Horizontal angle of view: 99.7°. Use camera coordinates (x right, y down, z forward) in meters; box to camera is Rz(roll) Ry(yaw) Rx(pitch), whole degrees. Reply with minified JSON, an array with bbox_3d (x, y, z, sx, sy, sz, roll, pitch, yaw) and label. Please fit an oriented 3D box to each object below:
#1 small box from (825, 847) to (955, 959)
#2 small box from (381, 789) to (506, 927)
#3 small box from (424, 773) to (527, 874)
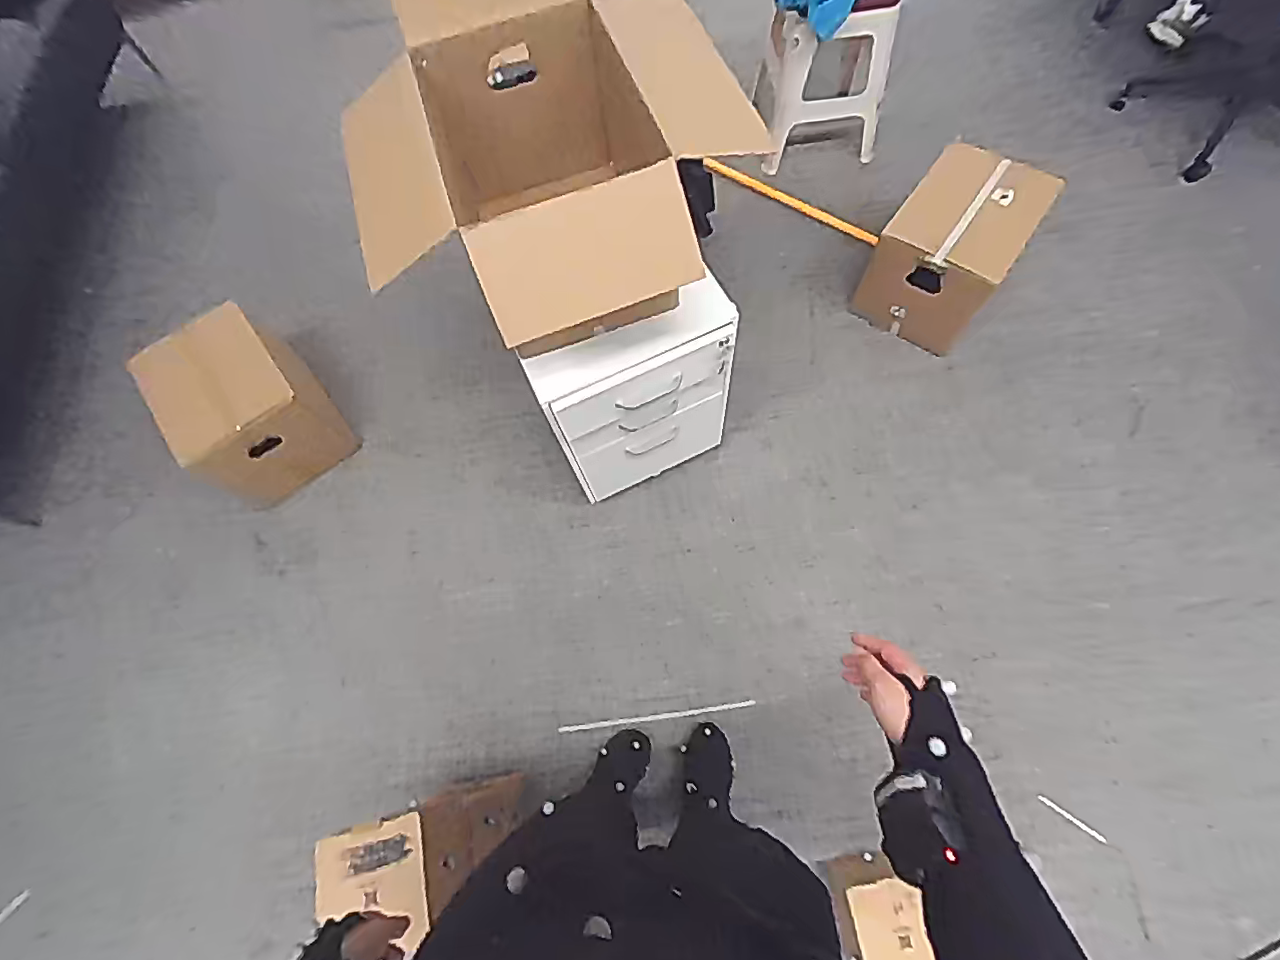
[{"bbox_3d":[0.484,0.856,1.061,0.168,0.176,0.179,-11,68,0],"label":"small box"},{"bbox_3d":[-0.366,0.705,1.031,0.179,0.176,0.168,-14,67,1],"label":"small box"},{"bbox_3d":[-0.354,0.755,1.185,0.179,0.176,0.168,-11,68,1],"label":"small box"}]
